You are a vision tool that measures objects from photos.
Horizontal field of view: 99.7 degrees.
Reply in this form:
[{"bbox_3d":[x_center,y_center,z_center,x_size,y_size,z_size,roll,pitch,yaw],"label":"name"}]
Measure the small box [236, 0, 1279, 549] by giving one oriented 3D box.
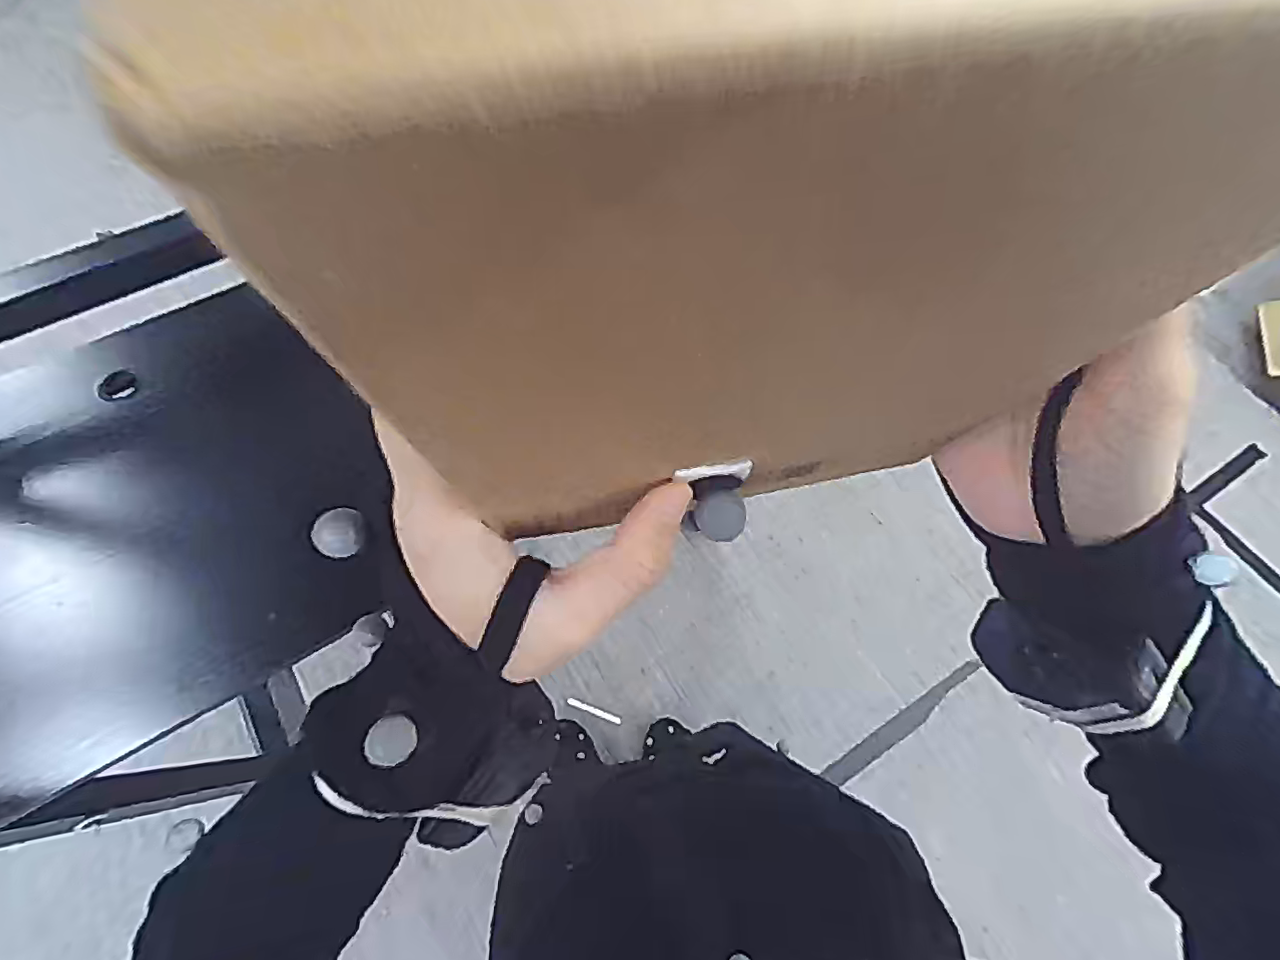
[{"bbox_3d":[0.023,-0.093,0.156,0.168,0.176,0.179,-12,74,-7],"label":"small box"}]
